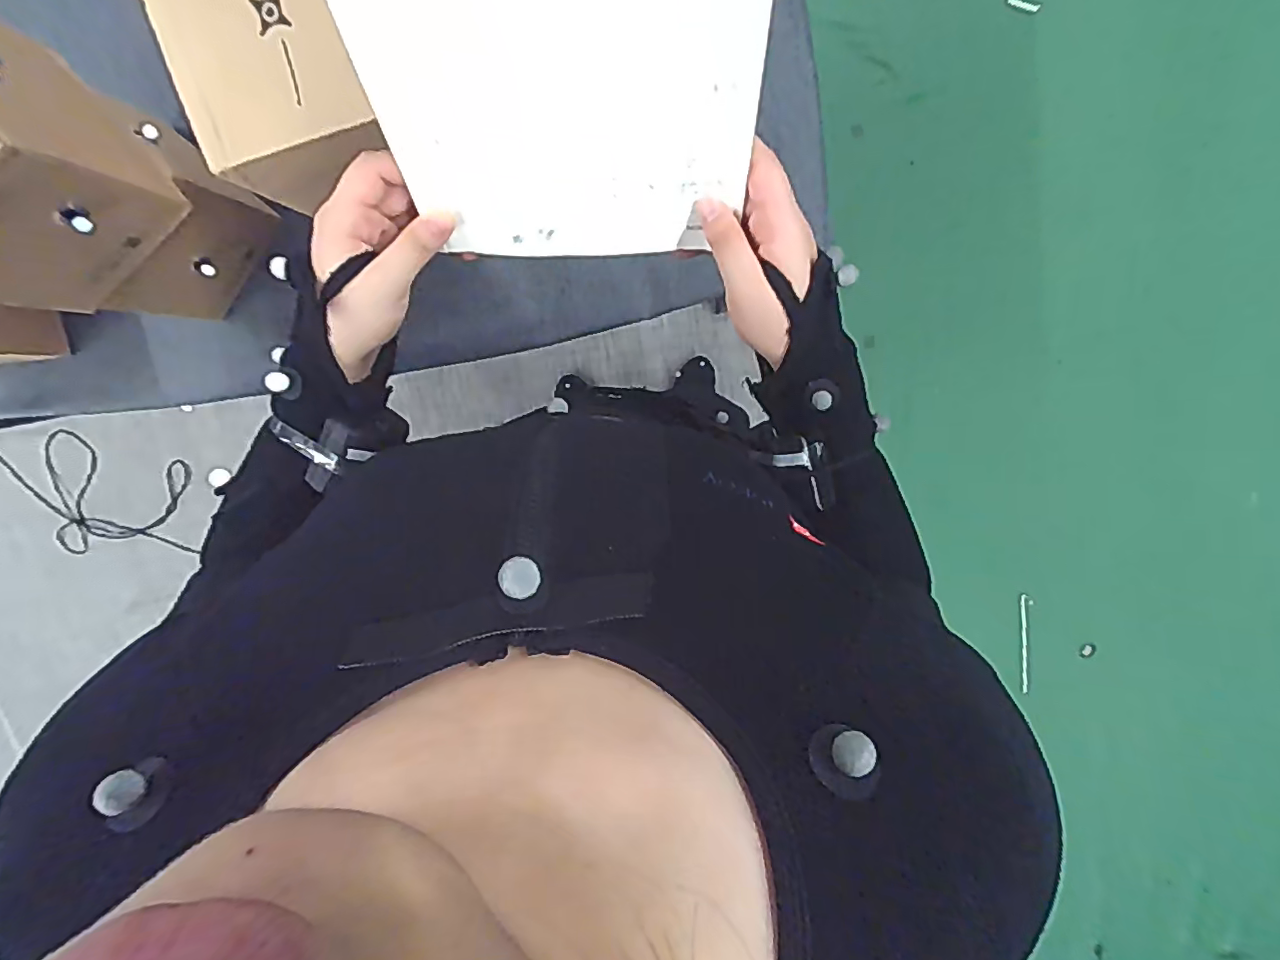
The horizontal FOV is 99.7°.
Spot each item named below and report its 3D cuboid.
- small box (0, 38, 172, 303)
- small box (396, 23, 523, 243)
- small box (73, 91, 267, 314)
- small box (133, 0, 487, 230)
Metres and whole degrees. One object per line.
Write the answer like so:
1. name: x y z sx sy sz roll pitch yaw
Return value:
1. small box: -0.565 -0.268 0.451 0.168 0.176 0.179 -38 98 7
2. small box: -0.244 -0.376 0.588 0.179 0.176 0.168 19 102 -2
3. small box: -0.579 -0.306 0.610 0.179 0.176 0.168 39 99 -7
4. small box: -0.244 -0.327 0.430 0.168 0.176 0.179 -14 101 5
